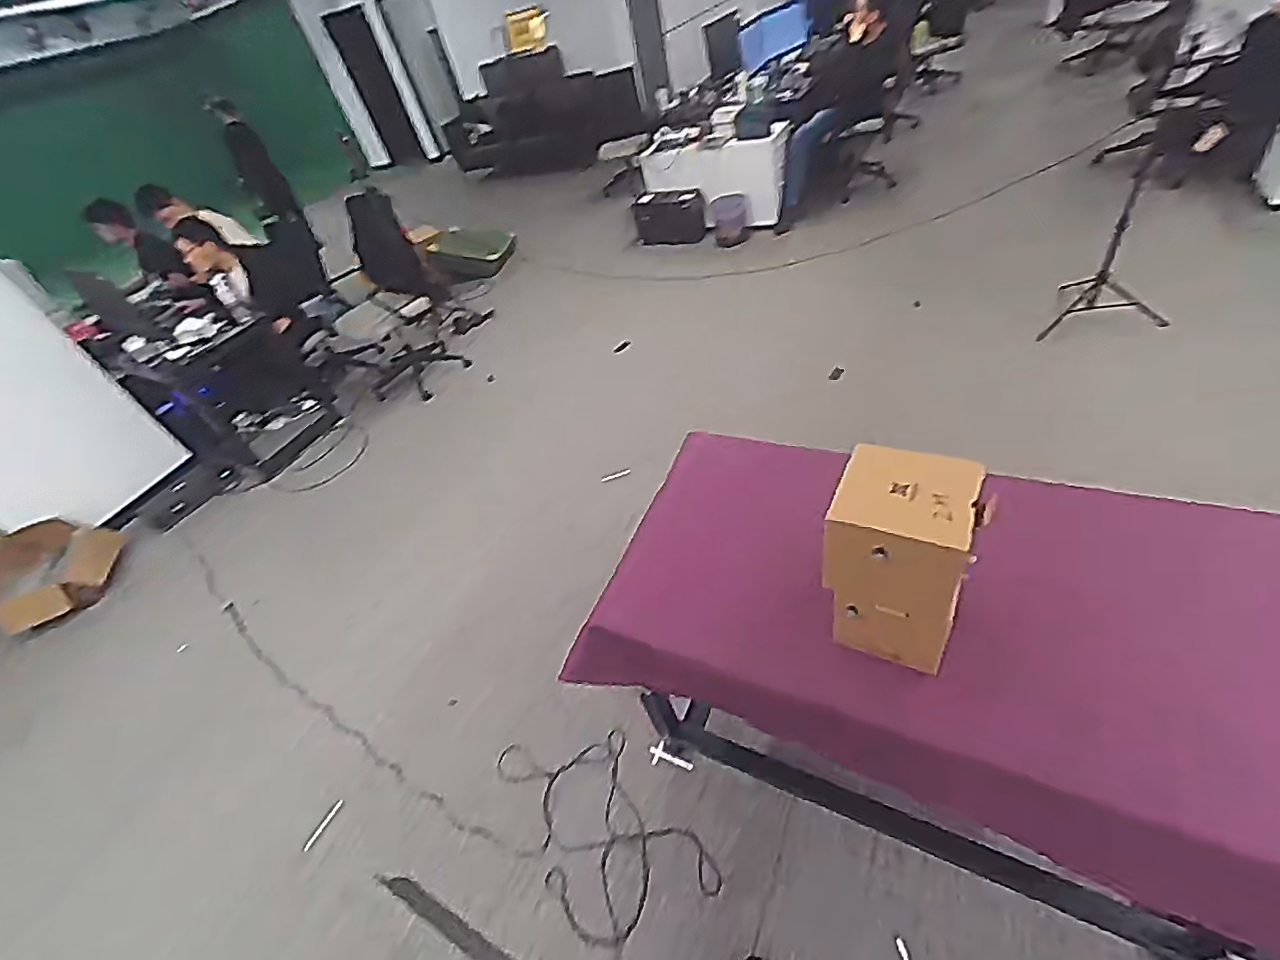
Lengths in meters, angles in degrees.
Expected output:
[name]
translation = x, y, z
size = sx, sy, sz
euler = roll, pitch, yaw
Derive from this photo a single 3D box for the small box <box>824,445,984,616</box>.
[small box]
translation = 0.383, 0.074, 0.803
size = 0.179, 0.176, 0.168
euler = 14, 51, 30
